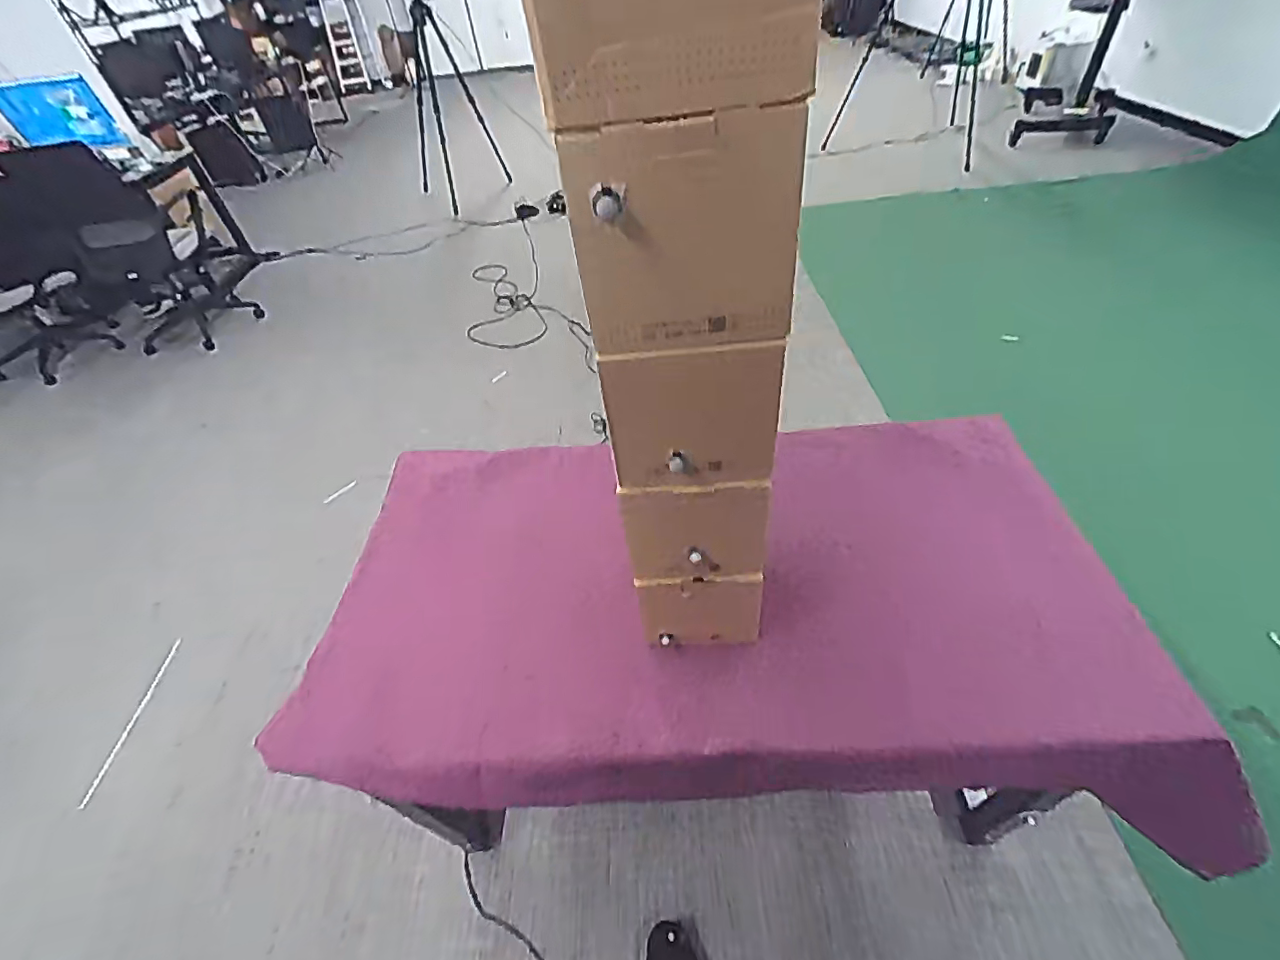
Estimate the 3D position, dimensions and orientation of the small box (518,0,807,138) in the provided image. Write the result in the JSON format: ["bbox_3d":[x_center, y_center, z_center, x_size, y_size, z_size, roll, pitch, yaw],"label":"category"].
[{"bbox_3d":[0.012,-0.344,0.358,0.179,0.176,0.168,-4,44,5],"label":"small box"}]

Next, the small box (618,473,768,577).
[{"bbox_3d":[0.066,0.005,0.696,0.168,0.176,0.179,-4,46,5],"label":"small box"}]

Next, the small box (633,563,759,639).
[{"bbox_3d":[0.084,0.124,0.807,0.168,0.176,0.179,-3,45,5],"label":"small box"}]

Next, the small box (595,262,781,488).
[{"bbox_3d":[0.050,-0.112,0.583,0.168,0.176,0.179,-4,45,5],"label":"small box"}]
